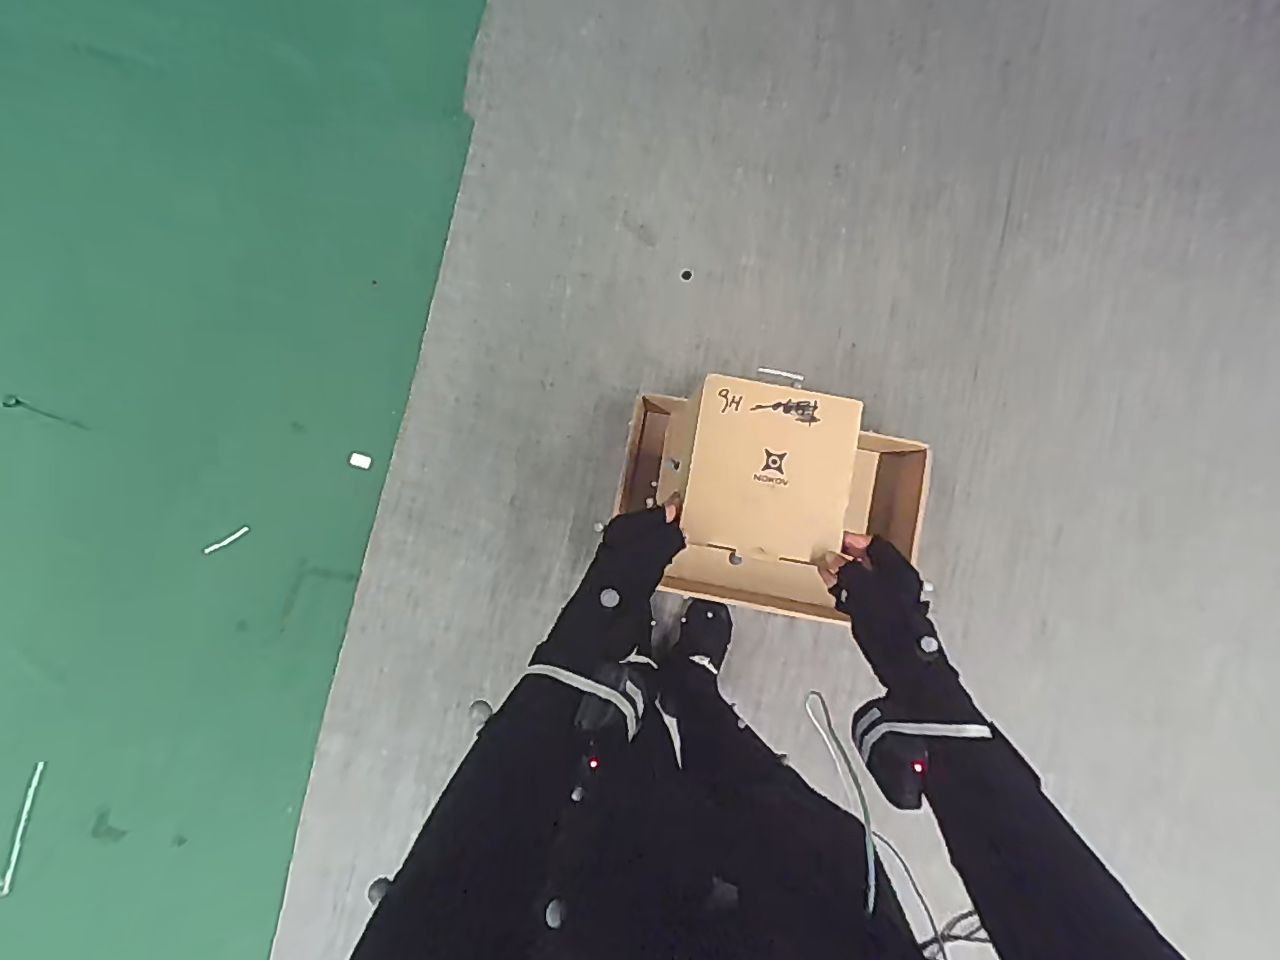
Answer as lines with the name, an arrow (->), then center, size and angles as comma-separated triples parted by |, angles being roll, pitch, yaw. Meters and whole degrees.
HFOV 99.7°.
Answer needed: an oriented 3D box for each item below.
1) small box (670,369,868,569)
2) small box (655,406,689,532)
small box -> 0.131, -0.009, 0.615 | 0.168, 0.176, 0.179 | 11, 88, -2
small box -> 0.117, -0.001, 0.825 | 0.168, 0.176, 0.179 | 9, 86, 0
